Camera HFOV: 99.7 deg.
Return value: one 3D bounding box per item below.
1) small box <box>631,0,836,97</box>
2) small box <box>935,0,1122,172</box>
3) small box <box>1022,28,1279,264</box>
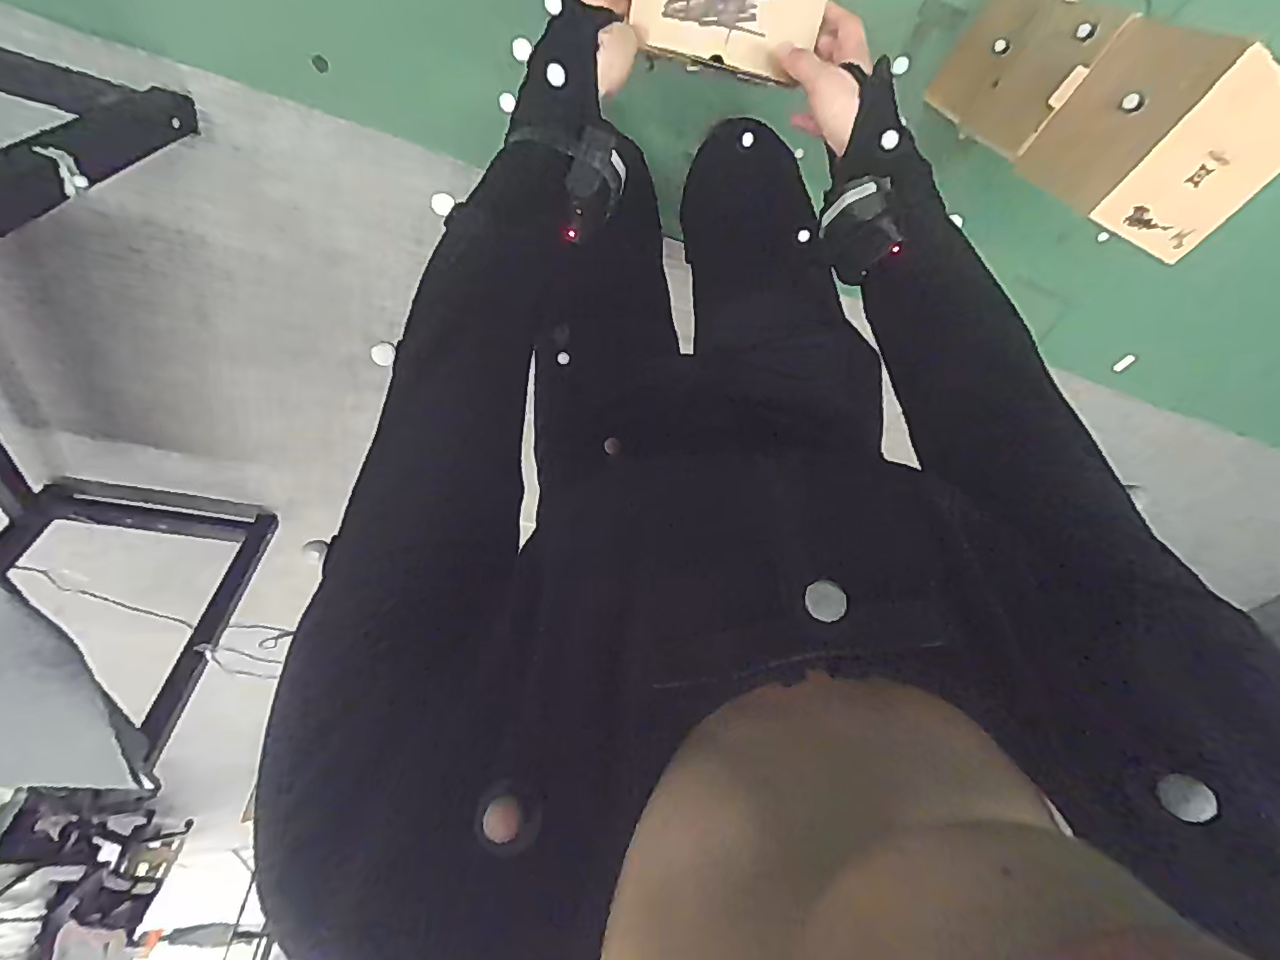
[{"bbox_3d":[0.087,-0.479,0.500,0.168,0.176,0.179,7,125,-10],"label":"small box"},{"bbox_3d":[0.613,-0.646,0.874,0.168,0.176,0.179,17,133,-22],"label":"small box"},{"bbox_3d":[0.623,-0.402,0.653,0.168,0.176,0.179,13,133,-20],"label":"small box"}]
